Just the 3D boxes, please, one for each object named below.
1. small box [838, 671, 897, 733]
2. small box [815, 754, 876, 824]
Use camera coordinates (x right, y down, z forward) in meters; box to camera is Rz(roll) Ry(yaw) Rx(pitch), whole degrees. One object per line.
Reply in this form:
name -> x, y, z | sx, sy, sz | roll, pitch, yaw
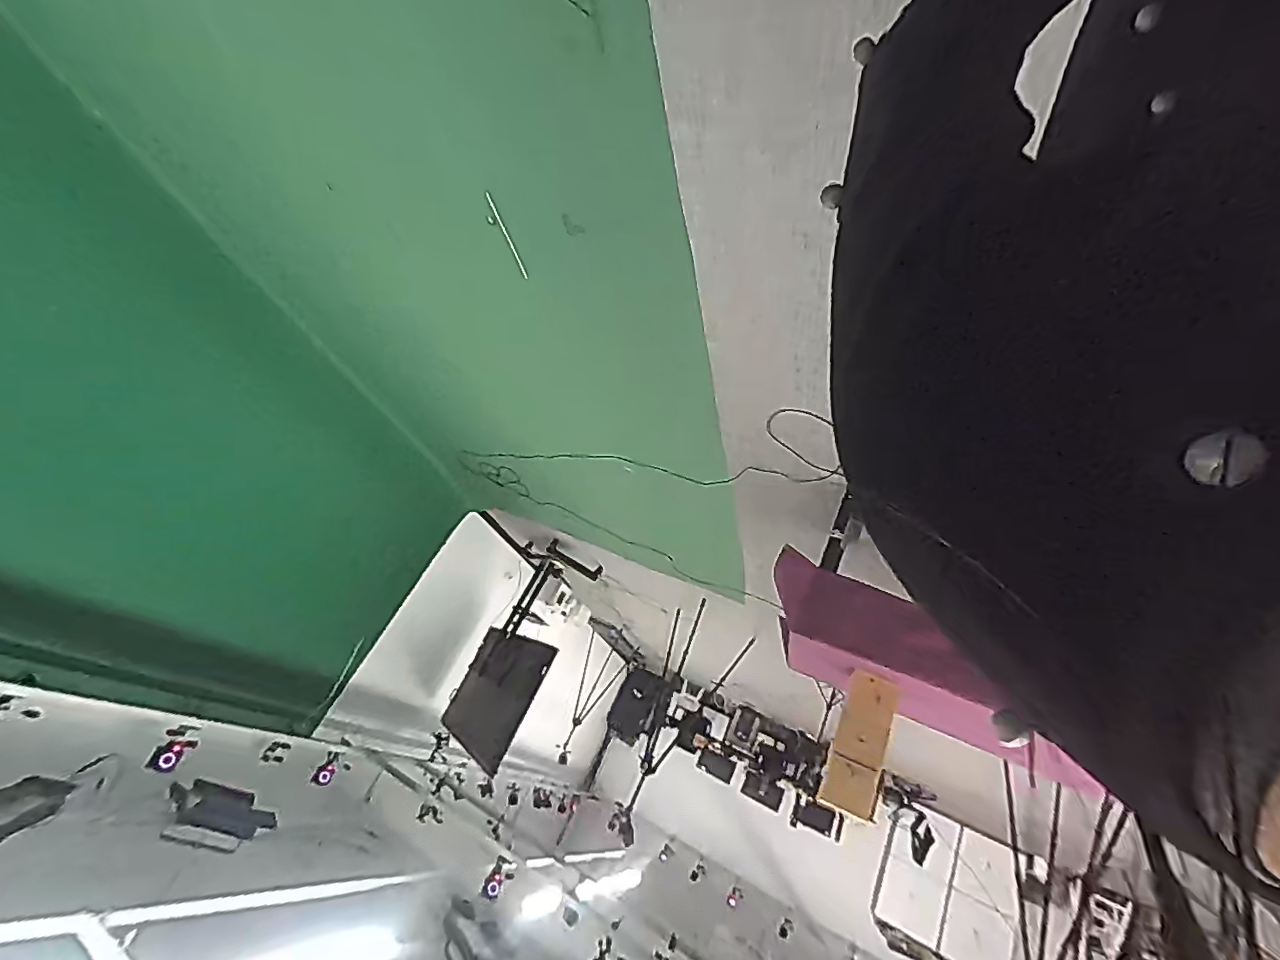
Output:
small box -> 0.897, 0.870, 2.126 | 0.168, 0.176, 0.179 | 18, 155, 21
small box -> 0.756, 1.134, 1.989 | 0.168, 0.176, 0.179 | 17, 153, 22
